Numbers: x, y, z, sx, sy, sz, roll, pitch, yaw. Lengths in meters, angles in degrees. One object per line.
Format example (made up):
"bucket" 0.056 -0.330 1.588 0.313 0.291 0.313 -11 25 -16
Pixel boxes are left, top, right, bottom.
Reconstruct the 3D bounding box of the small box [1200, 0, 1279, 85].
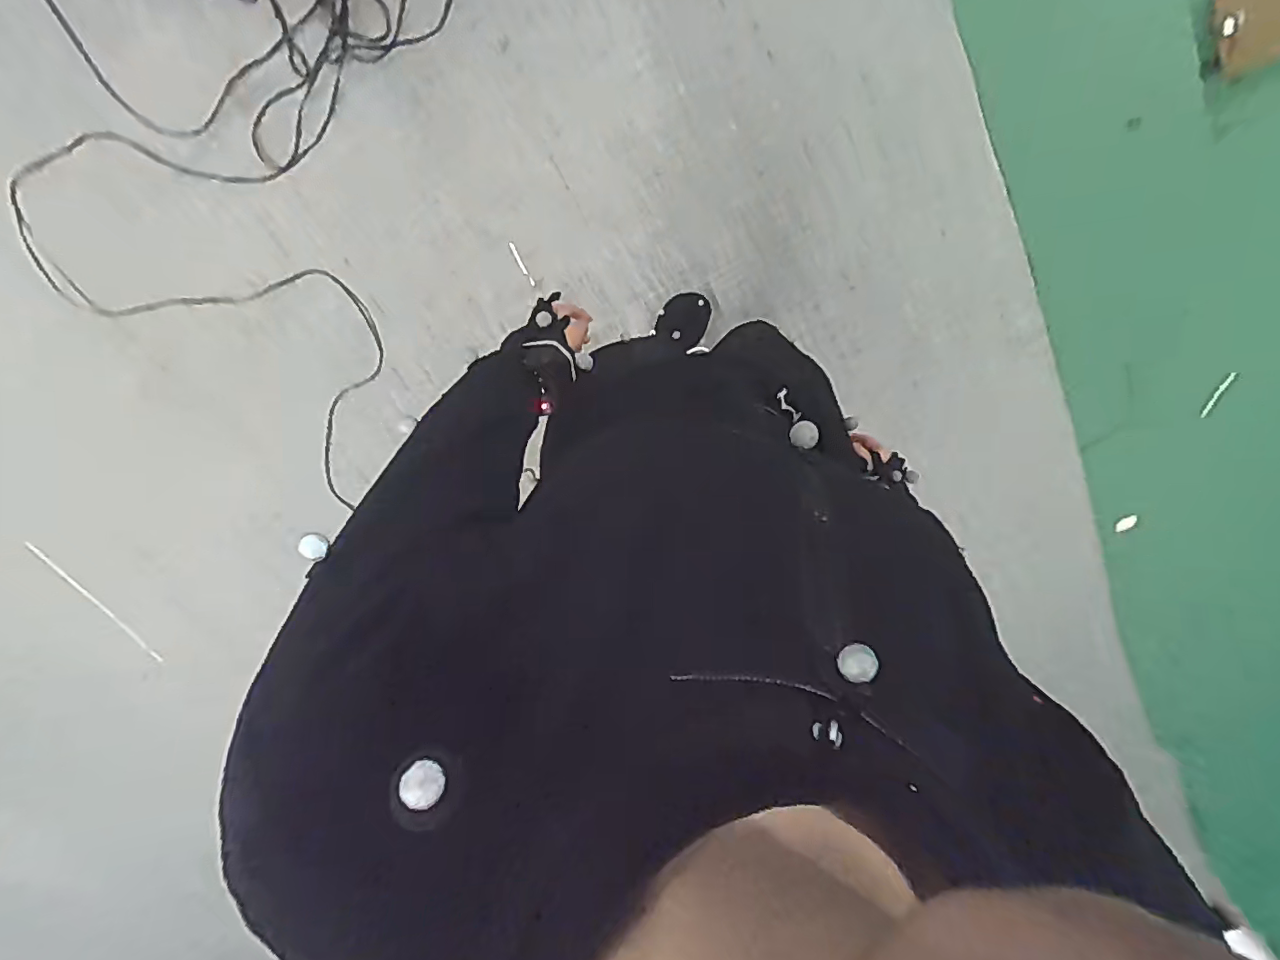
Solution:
"small box" 1.219 -0.887 1.004 0.179 0.176 0.168 -28 108 10
